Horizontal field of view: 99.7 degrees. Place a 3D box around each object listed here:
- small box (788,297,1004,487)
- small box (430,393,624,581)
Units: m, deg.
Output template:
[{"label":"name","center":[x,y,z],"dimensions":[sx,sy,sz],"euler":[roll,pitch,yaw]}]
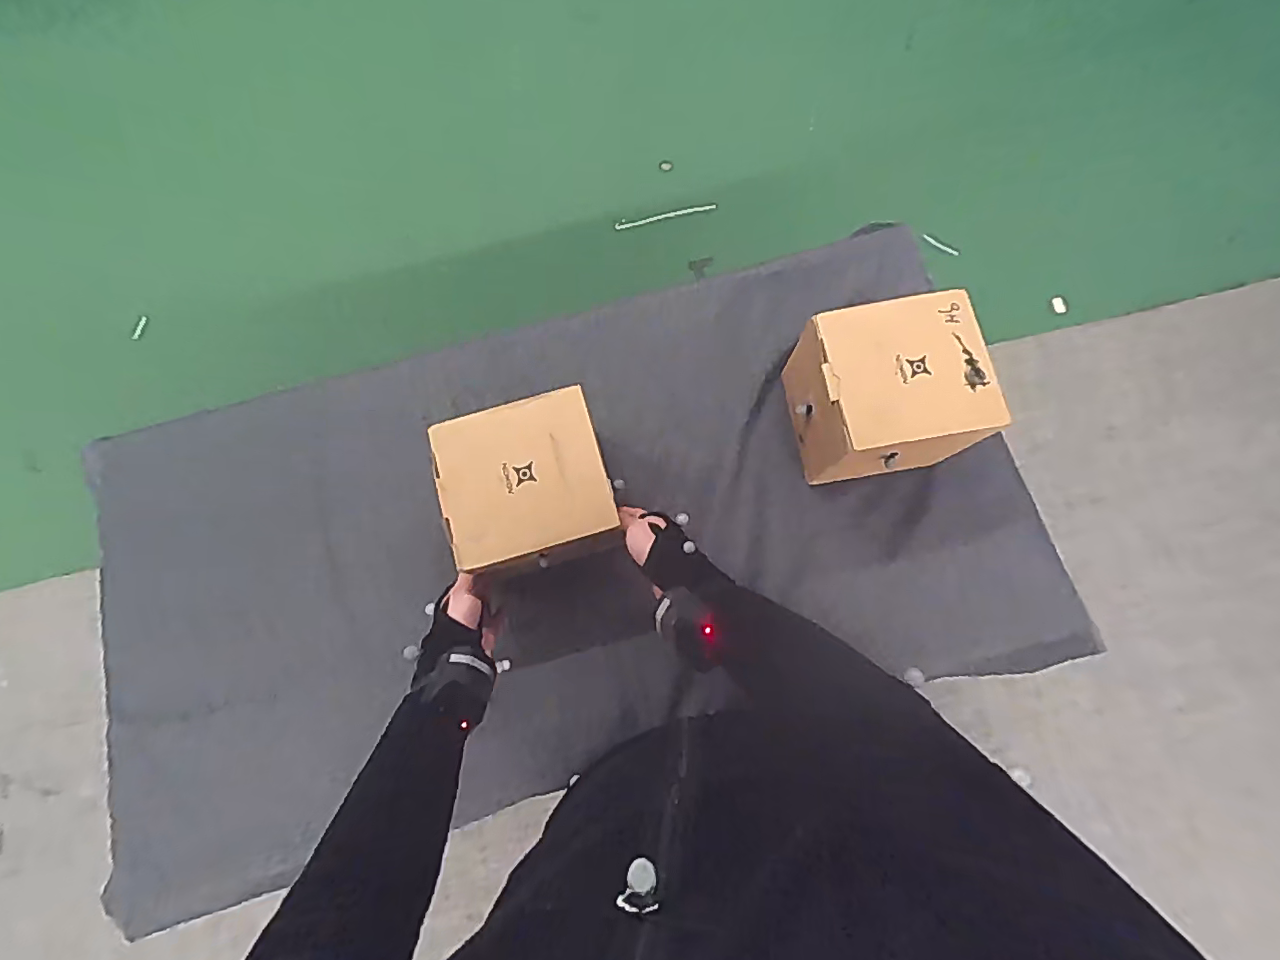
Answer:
[{"label":"small box","center":[0.292,-0.096,0.667],"dimensions":[0.179,0.176,0.168],"euler":[-10,77,0]},{"label":"small box","center":[-0.124,0.020,0.653],"dimensions":[0.179,0.176,0.168],"euler":[-16,78,-4]}]
